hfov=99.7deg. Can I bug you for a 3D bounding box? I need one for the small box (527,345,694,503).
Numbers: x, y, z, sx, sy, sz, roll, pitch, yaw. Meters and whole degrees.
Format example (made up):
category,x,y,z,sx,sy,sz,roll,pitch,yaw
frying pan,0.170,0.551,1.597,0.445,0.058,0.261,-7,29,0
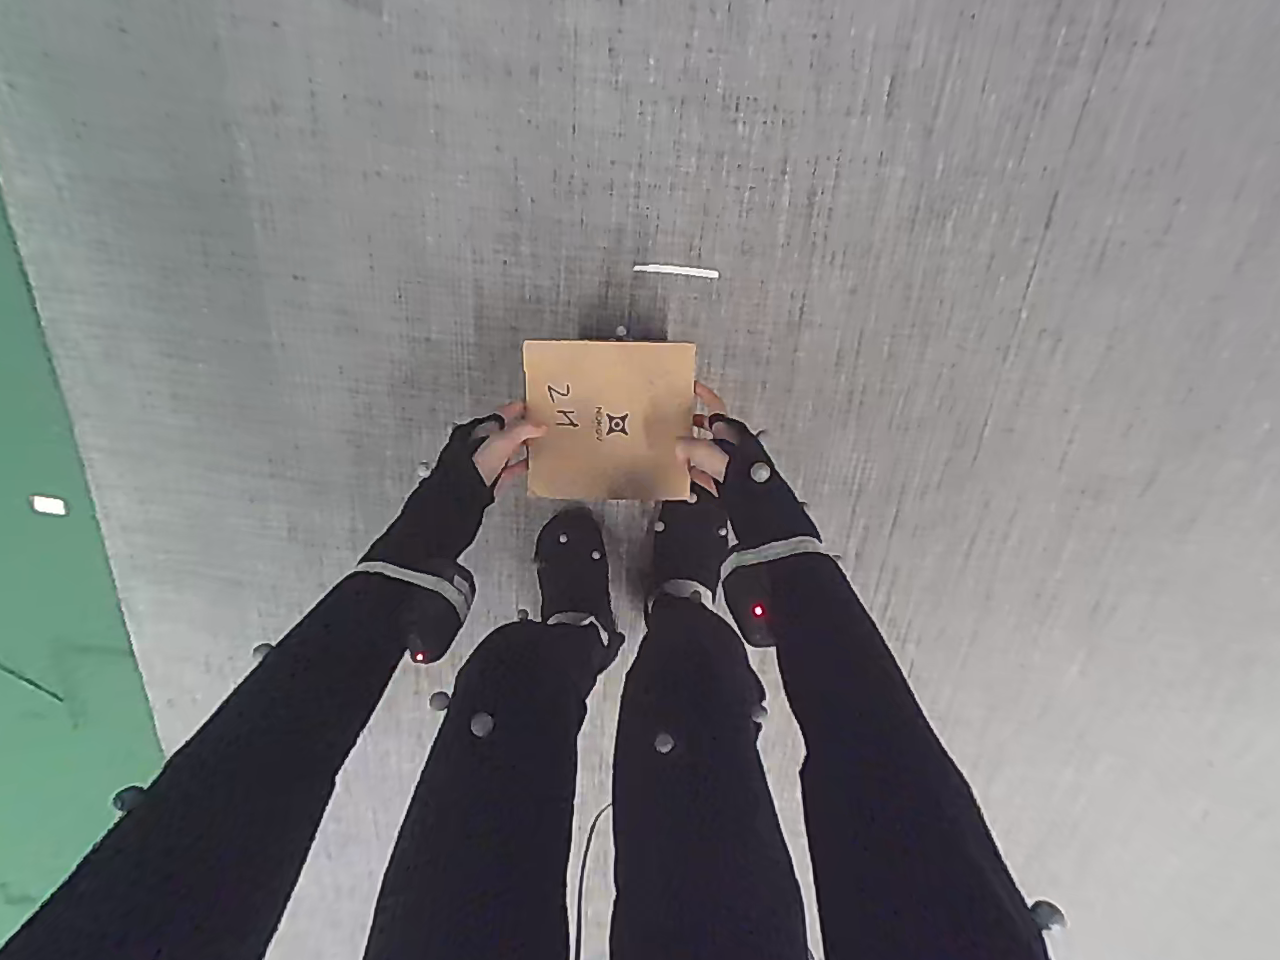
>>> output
category,x,y,z,sx,sy,sz,roll,pitch,yaw
small box,-0.035,-0.075,0.654,0.179,0.176,0.168,2,103,-1
